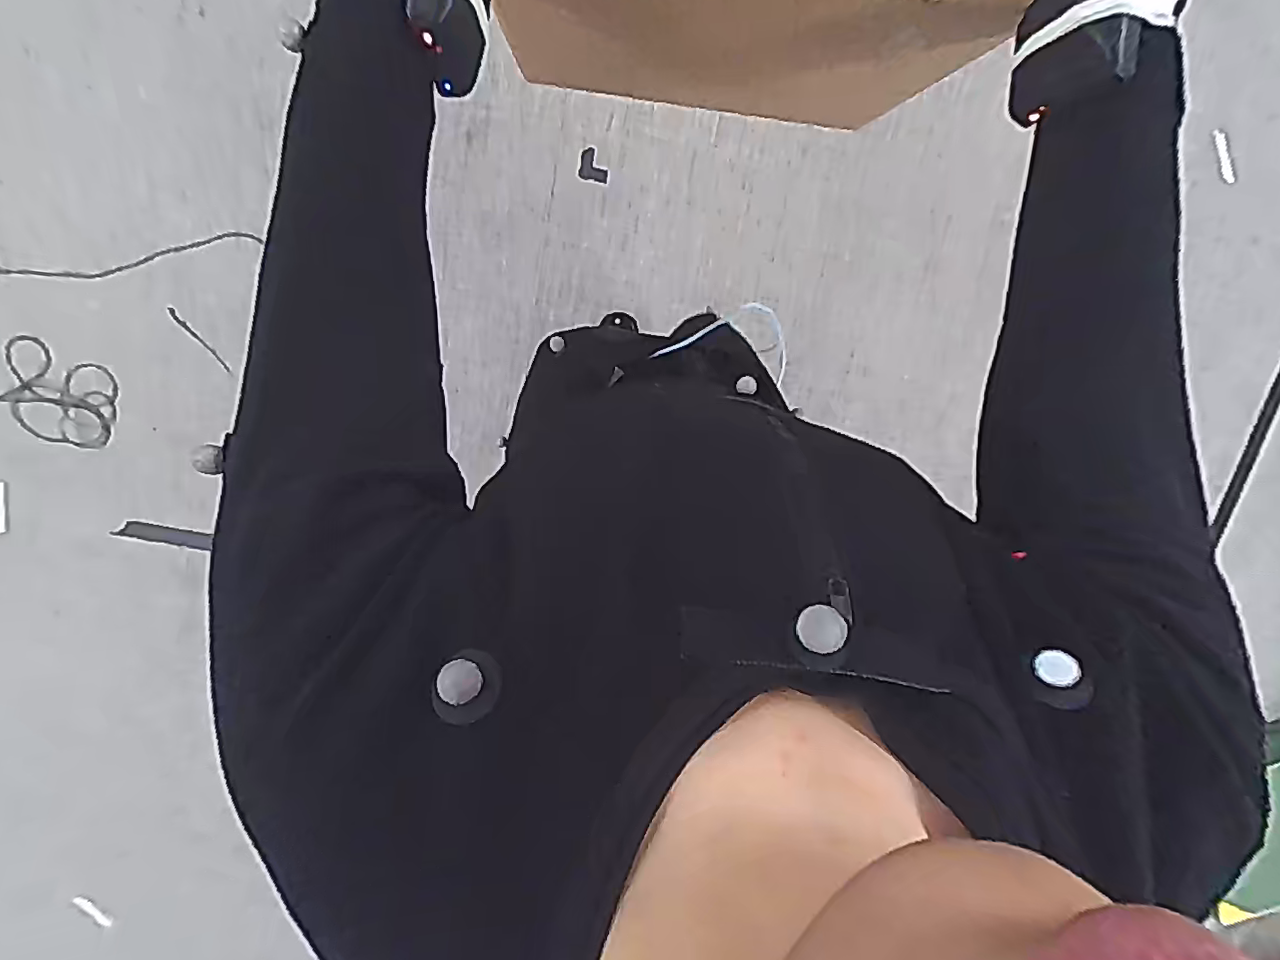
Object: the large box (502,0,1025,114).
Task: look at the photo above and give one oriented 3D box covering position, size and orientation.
[{"bbox_3d":[0.087,-0.546,0.452,0.408,0.320,0.320,5,111,-6],"label":"large box"}]
